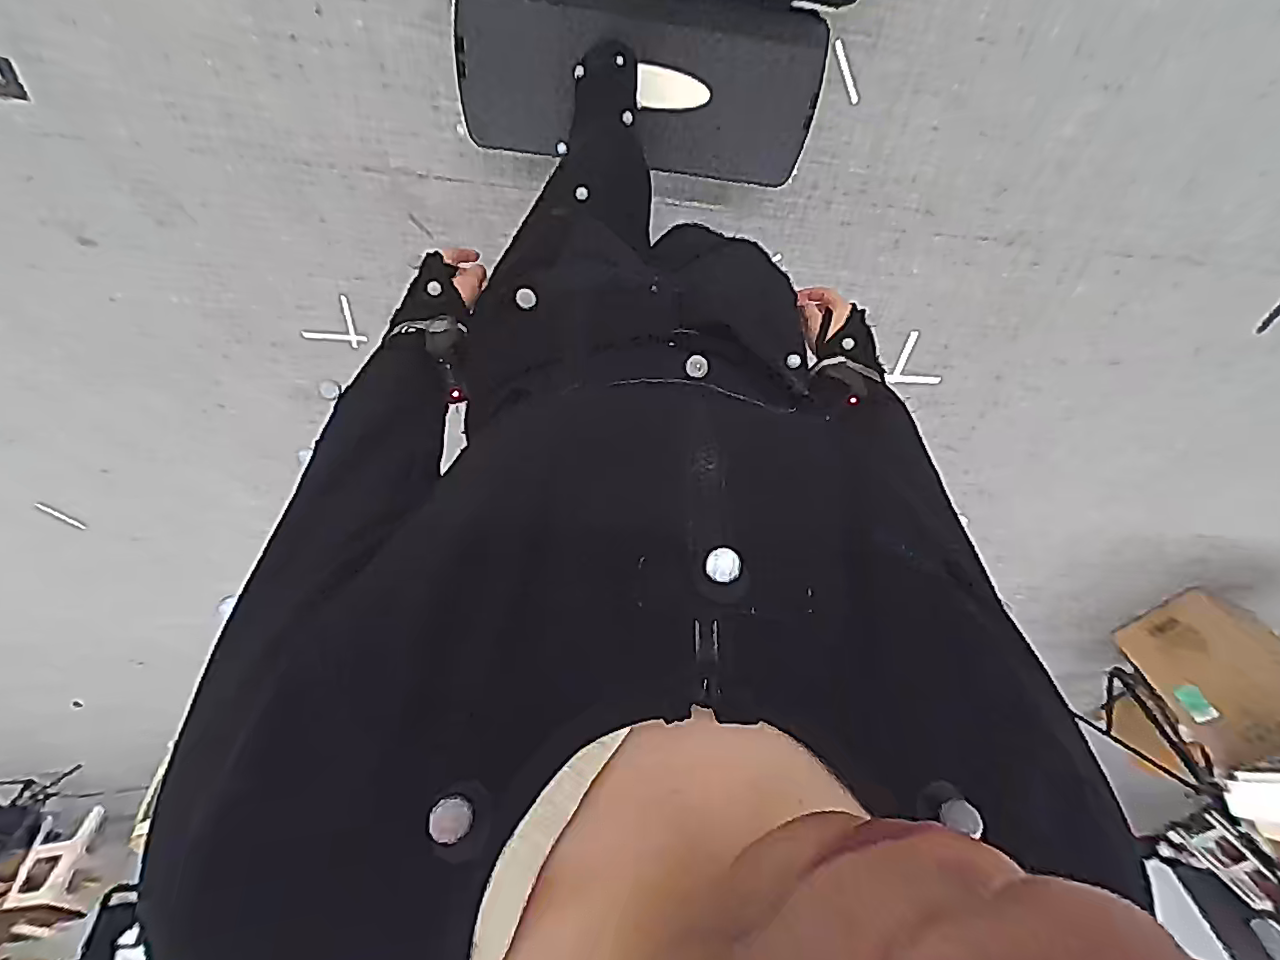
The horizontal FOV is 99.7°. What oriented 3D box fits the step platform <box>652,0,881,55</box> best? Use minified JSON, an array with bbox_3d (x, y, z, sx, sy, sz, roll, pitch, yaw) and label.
[{"bbox_3d":[0.075,-0.906,0.827,0.684,0.204,0.286,6,129,-11],"label":"step platform"}]
